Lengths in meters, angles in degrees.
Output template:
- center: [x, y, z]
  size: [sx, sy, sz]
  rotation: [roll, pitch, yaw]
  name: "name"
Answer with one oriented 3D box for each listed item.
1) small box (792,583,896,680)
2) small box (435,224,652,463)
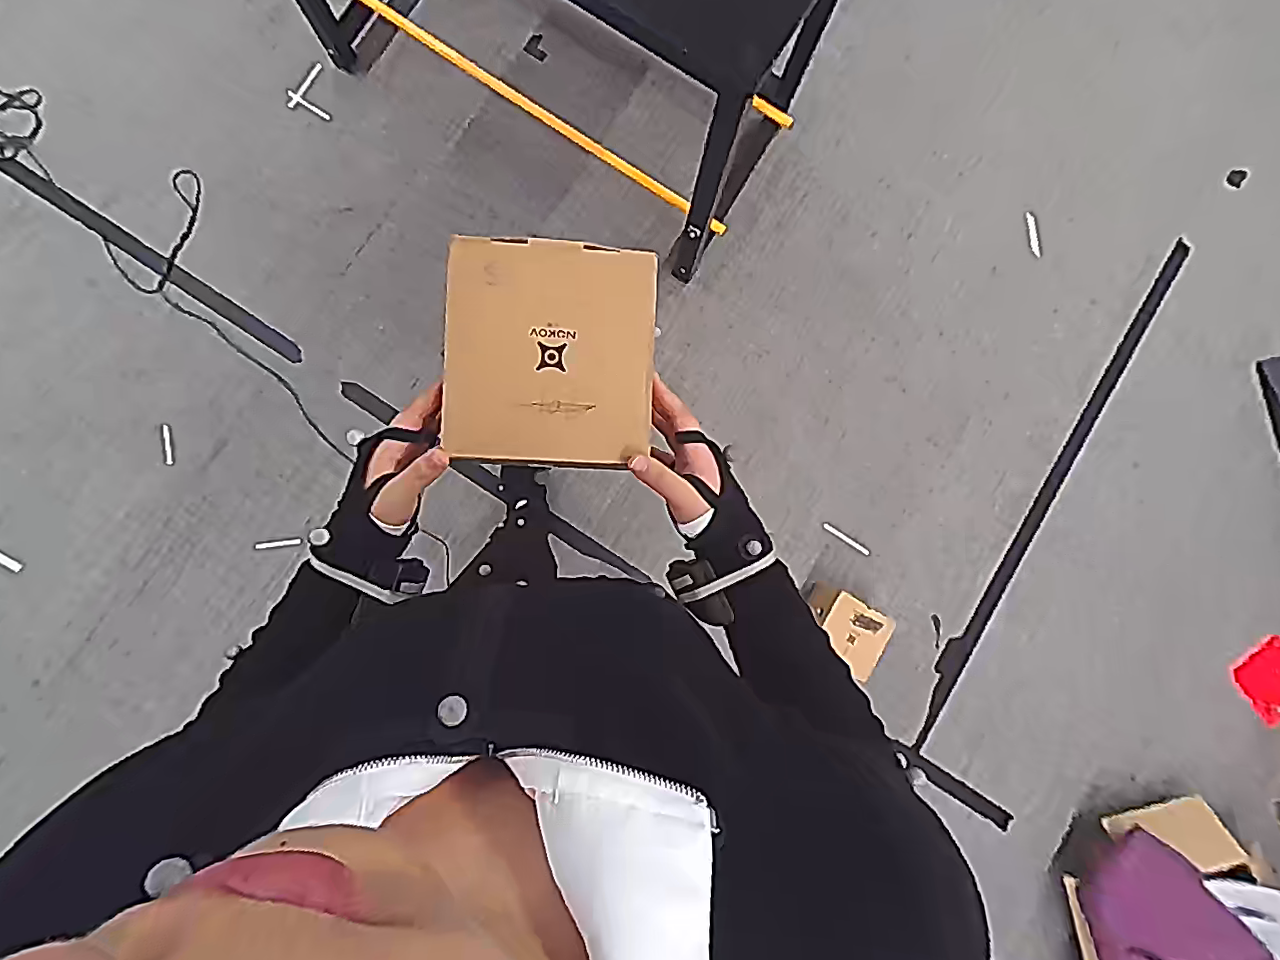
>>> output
- center: [0.529, 0.390, 1.430]
  size: [0.168, 0.176, 0.179]
  rotation: [31, 86, 0]
  name: "small box"
- center: [-0.084, -0.110, 0.509]
  size: [0.168, 0.176, 0.179]
  rotation: [2, 90, -6]
  name: "small box"
